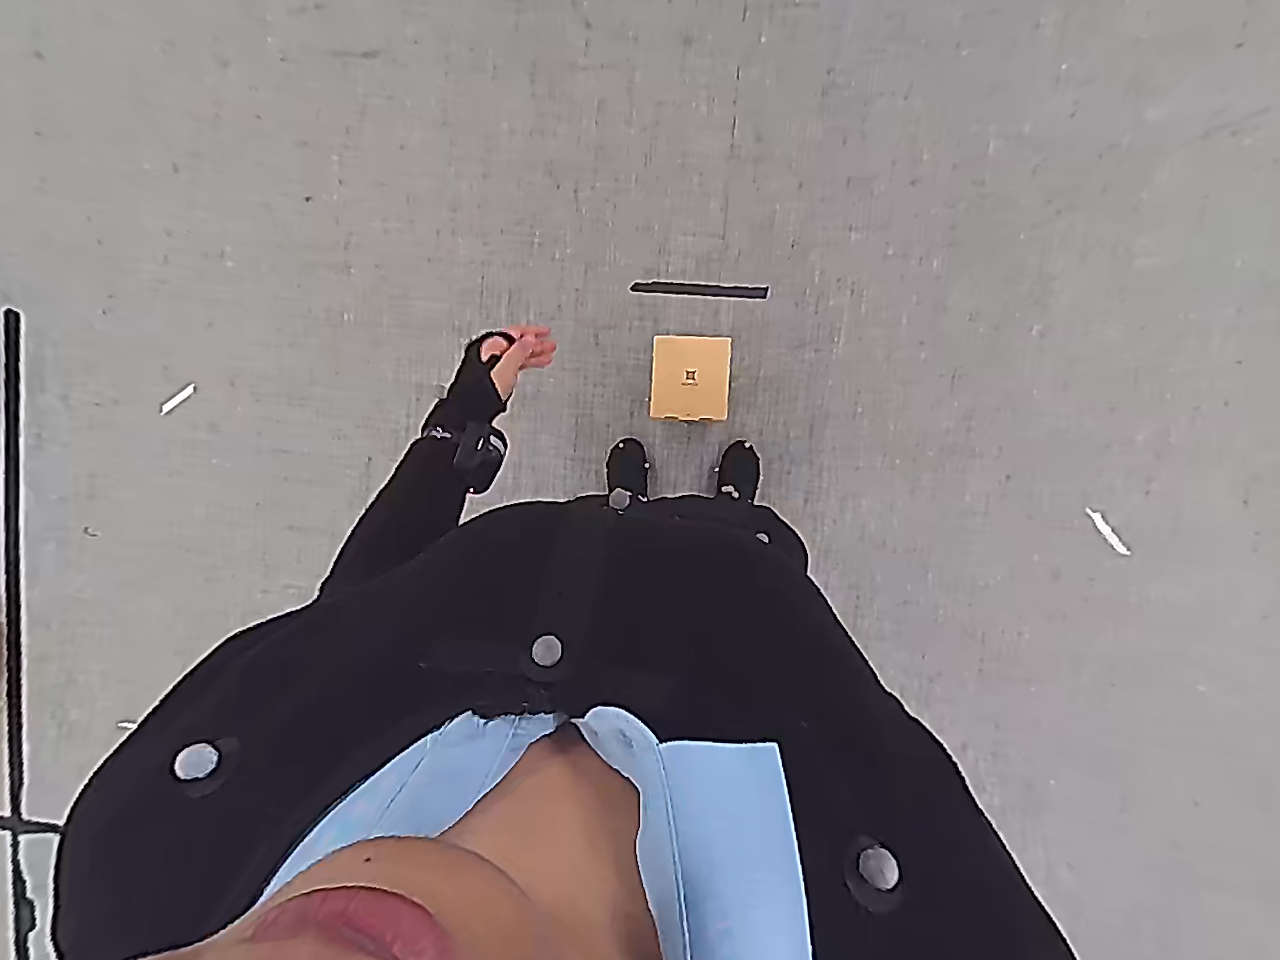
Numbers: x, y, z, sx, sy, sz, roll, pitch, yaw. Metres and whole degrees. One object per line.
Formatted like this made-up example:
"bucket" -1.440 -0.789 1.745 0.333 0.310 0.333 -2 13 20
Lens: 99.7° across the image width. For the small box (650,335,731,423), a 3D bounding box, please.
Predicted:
"small box" 0.110 -0.222 1.219 0.168 0.176 0.179 3 96 4
